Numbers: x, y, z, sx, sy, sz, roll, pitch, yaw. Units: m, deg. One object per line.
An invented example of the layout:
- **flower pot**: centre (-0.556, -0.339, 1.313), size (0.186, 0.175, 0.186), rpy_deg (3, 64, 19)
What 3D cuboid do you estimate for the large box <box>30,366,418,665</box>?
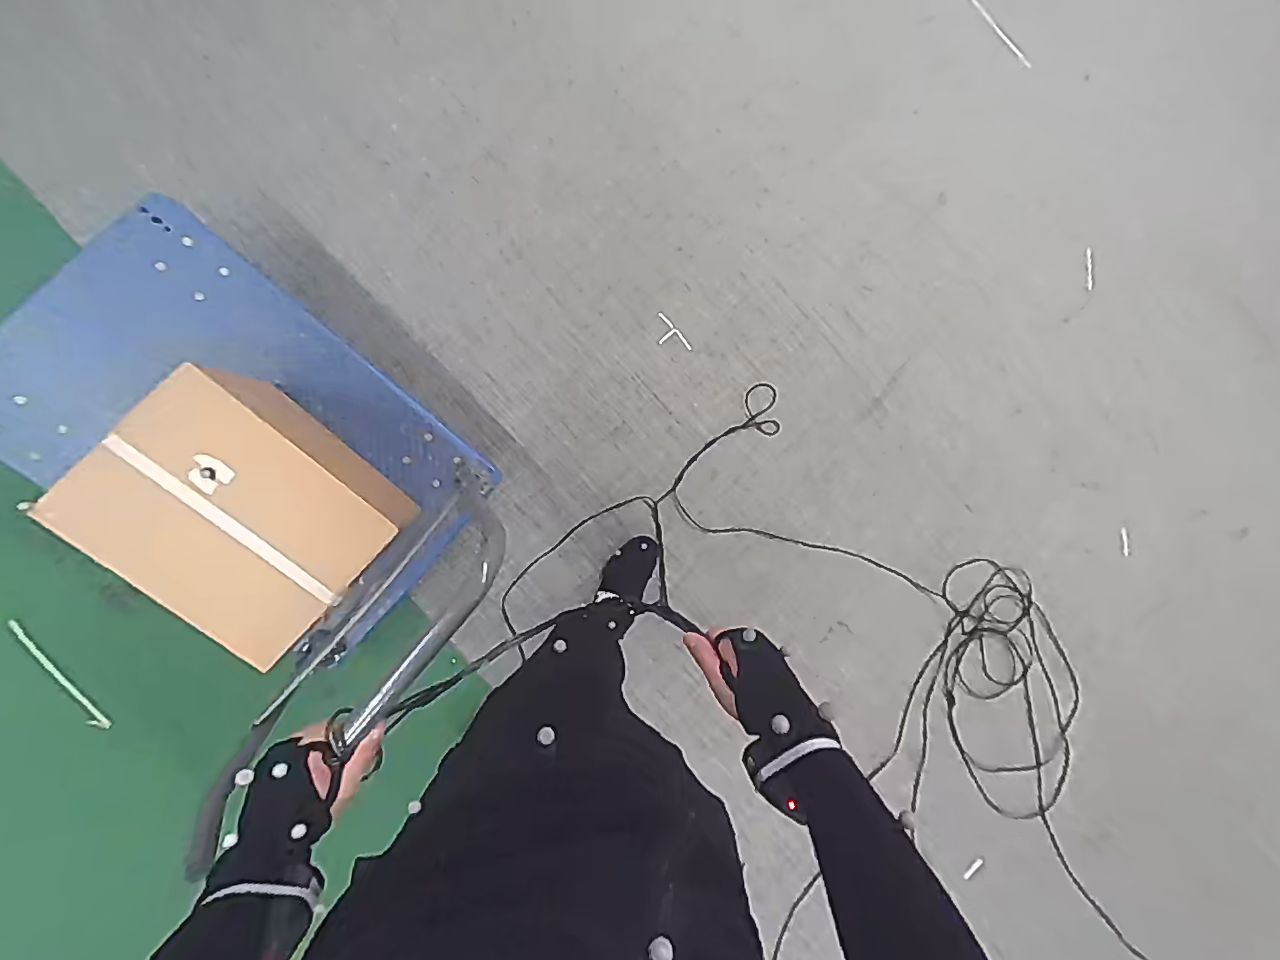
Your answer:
- **large box**: centre (-0.690, 0.055, 0.995), size (0.408, 0.320, 0.320), rpy_deg (43, 82, -14)
